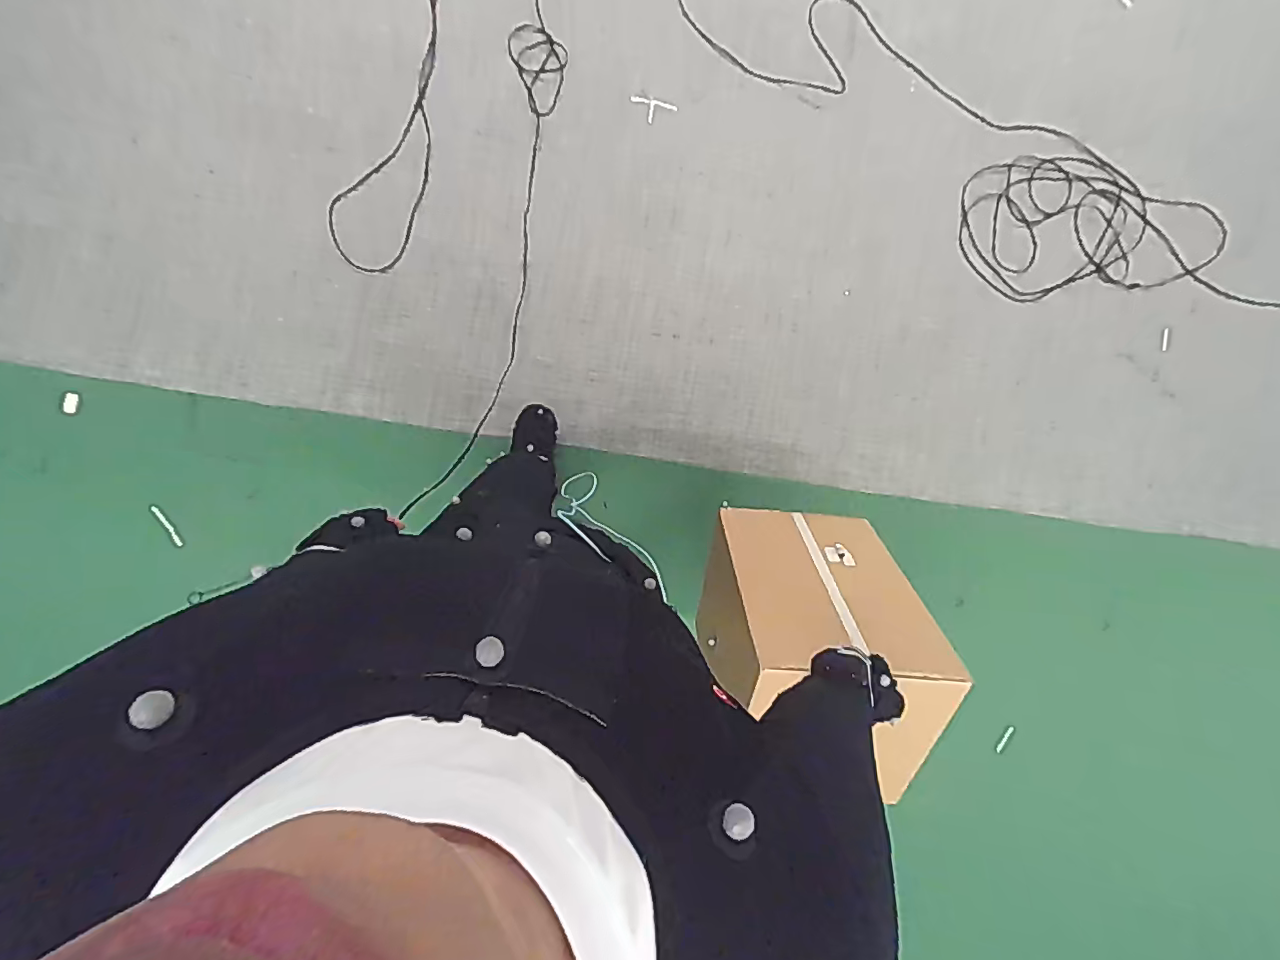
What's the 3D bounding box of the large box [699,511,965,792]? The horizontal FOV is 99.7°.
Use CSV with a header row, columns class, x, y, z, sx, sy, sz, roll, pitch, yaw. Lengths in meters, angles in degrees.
class,x,y,z,sx,sy,sz,roll,pitch,yaw
large box,0.302,0.303,1.013,0.320,0.408,0.320,6,119,-4
